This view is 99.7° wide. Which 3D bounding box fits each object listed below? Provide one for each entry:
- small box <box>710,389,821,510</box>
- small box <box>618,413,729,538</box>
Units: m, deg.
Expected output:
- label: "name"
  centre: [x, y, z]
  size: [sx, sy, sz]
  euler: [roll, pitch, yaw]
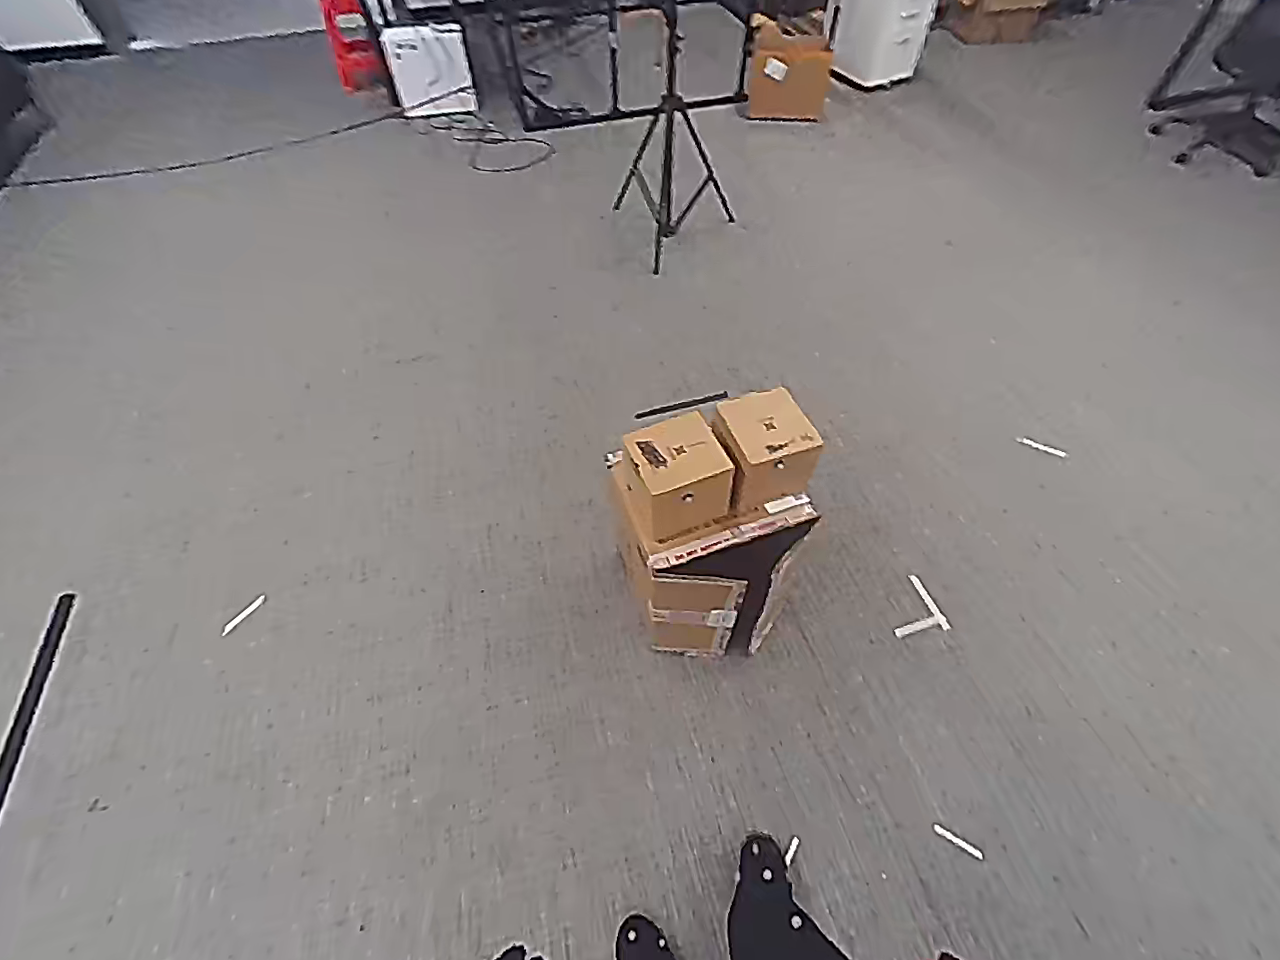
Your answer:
- label: "small box"
  centre: [0.254, -0.064, 1.164]
  size: [0.168, 0.176, 0.179]
  euler: [-15, 54, -12]
- label: "small box"
  centre: [0.068, -0.006, 1.125]
  size: [0.179, 0.176, 0.168]
  euler: [-20, 55, -11]
